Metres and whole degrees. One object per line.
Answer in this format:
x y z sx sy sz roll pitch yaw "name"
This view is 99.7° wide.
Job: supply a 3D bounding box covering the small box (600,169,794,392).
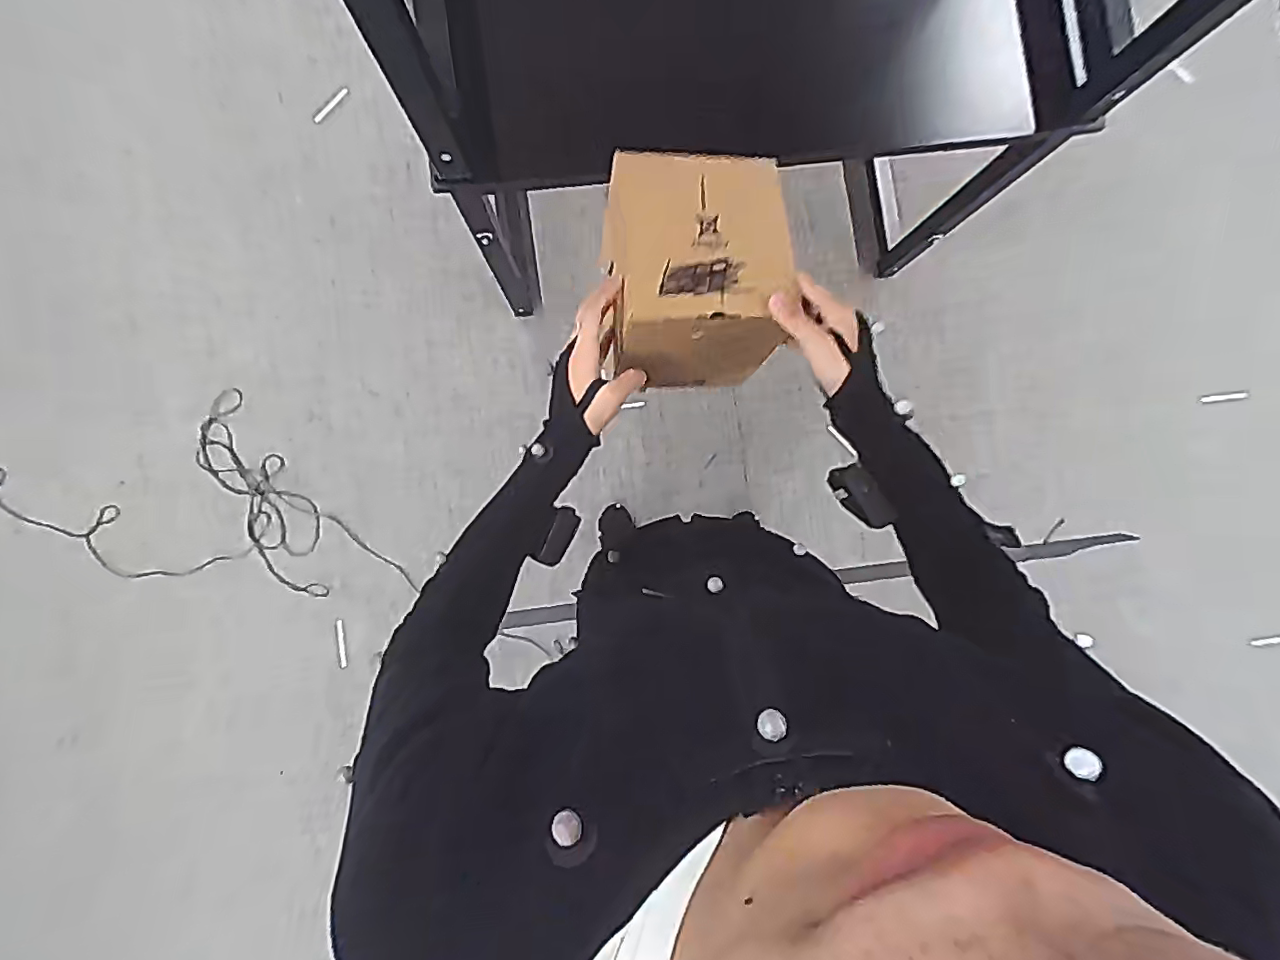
0.048 -0.203 0.594 0.168 0.176 0.179 -4 76 -10 "small box"
